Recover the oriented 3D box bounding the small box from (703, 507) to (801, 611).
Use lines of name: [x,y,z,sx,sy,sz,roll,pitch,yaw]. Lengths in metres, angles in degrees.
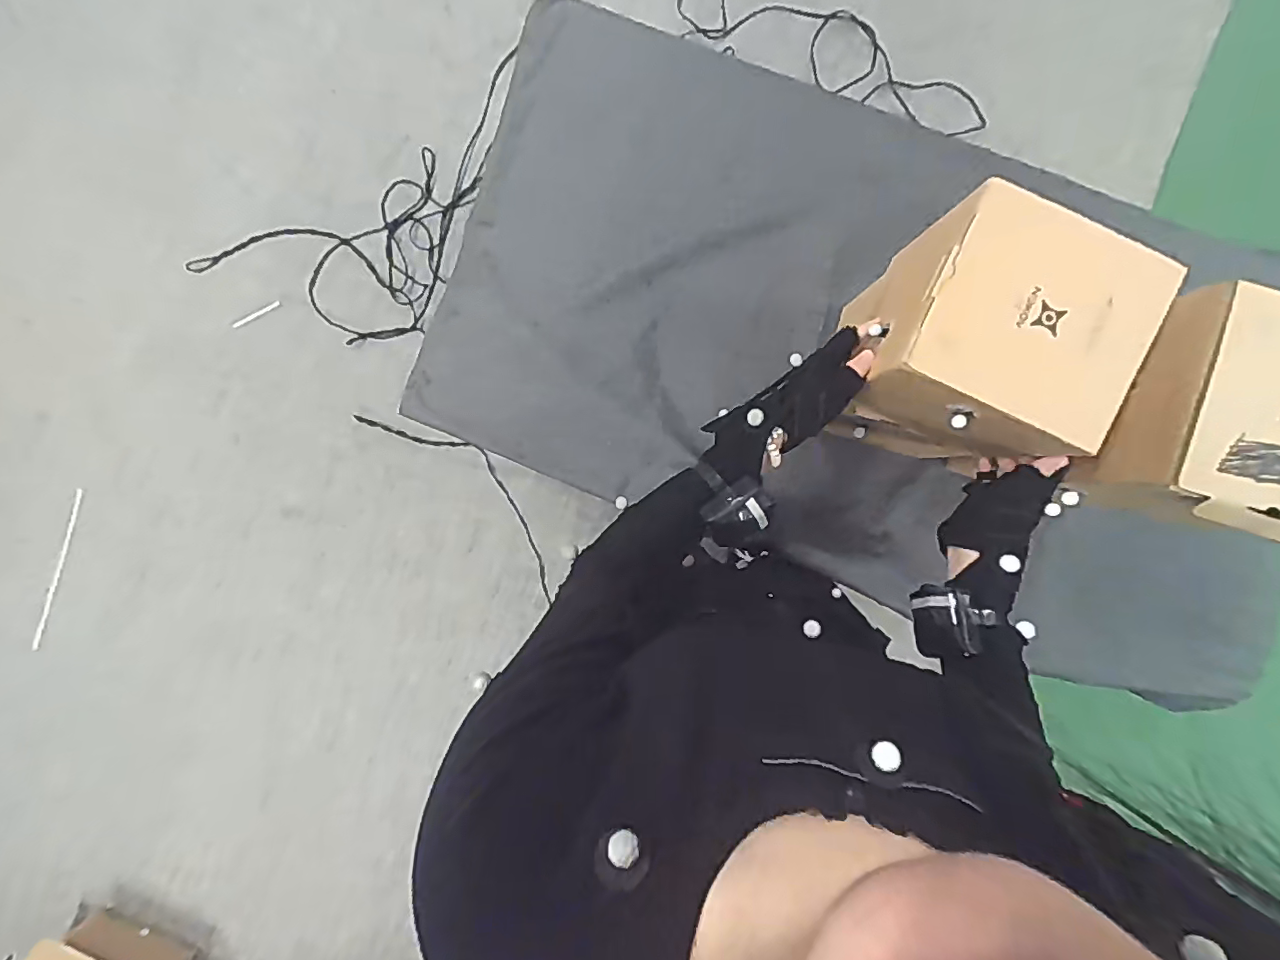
small box: [0.284,0.208,1.417,0.179,0.176,0.168,-27,57,-23]
